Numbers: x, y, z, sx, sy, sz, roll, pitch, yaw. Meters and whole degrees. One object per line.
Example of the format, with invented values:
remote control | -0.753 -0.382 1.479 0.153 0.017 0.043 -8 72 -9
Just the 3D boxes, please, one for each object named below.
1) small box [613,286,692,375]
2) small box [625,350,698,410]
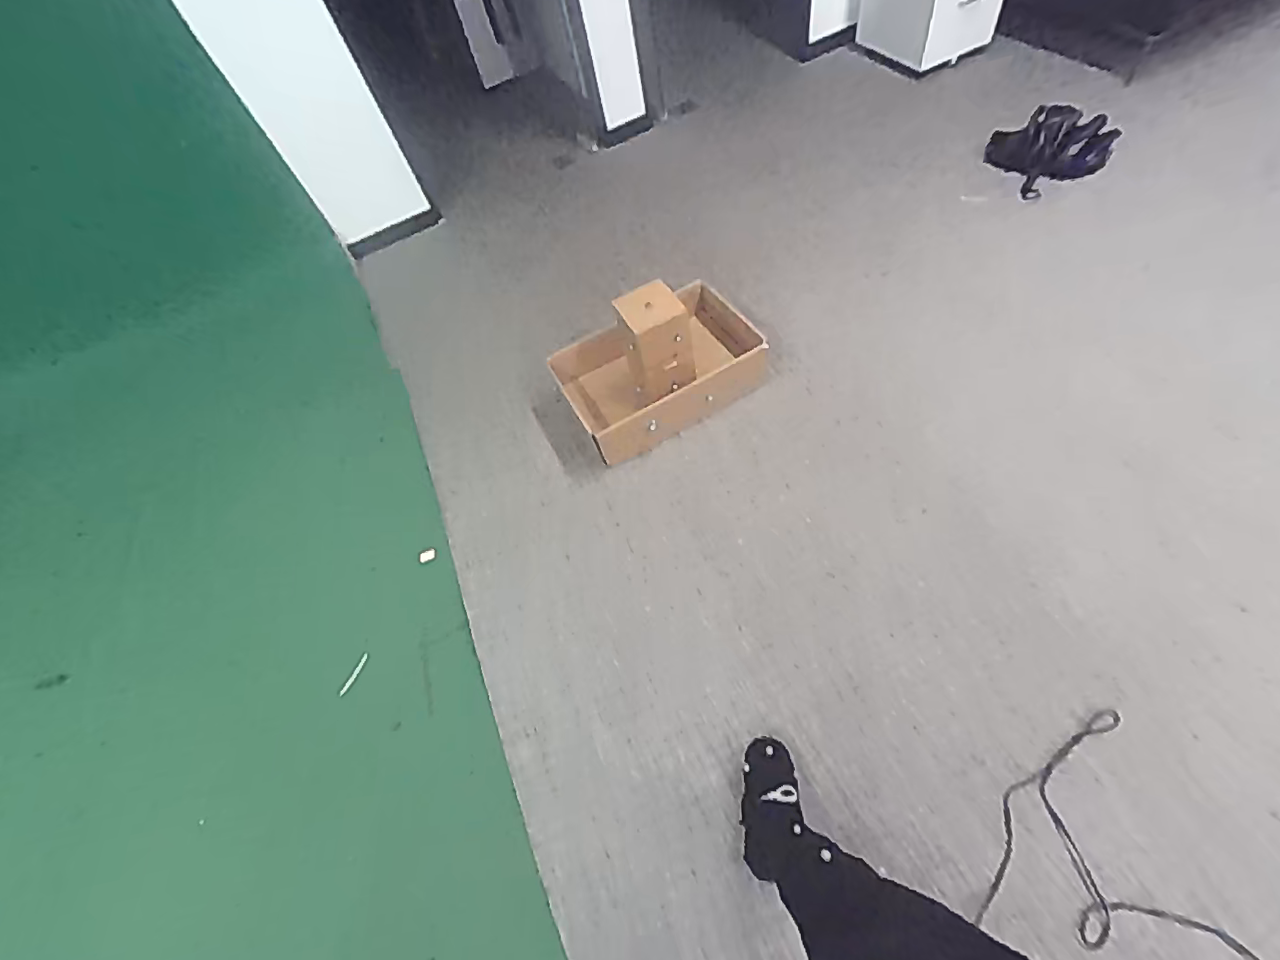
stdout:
small box | 0.042 -0.437 1.614 0.168 0.176 0.179 -27 55 -6
small box | 0.073 -0.349 1.746 0.168 0.176 0.179 -27 56 -5
